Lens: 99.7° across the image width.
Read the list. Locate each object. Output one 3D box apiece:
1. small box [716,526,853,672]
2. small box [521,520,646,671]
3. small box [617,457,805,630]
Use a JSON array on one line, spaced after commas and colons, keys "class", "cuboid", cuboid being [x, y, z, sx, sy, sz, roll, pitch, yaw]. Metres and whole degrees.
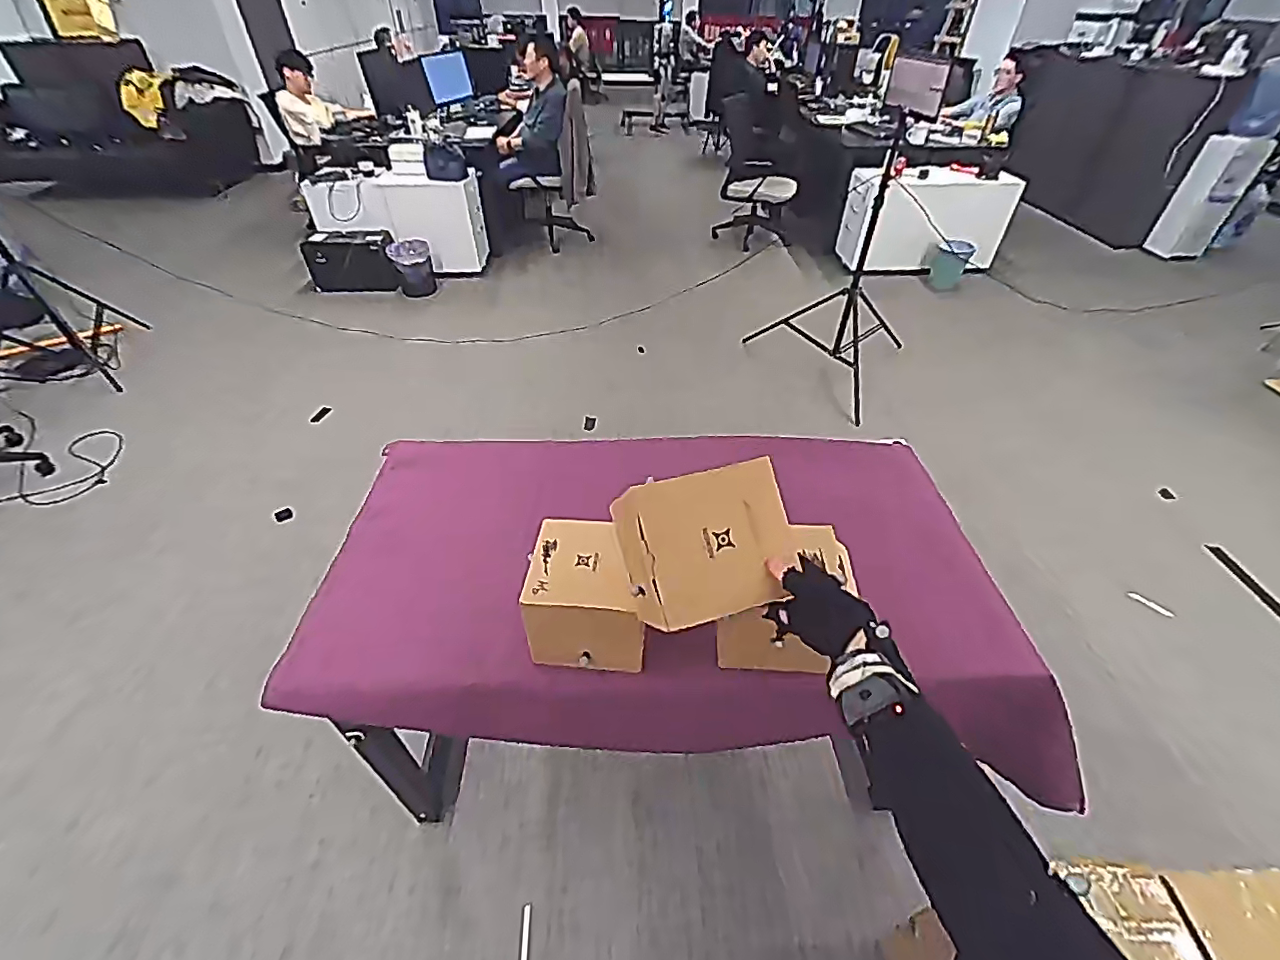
[{"class": "small box", "cuboid": [0.216, 0.189, 0.864, 0.179, 0.176, 0.168, 2, 41, 3]}, {"class": "small box", "cuboid": [-0.076, 0.187, 0.865, 0.179, 0.176, 0.168, 4, 41, 3]}, {"class": "small box", "cuboid": [0.075, 0.081, 0.693, 0.179, 0.176, 0.168, -14, 85, -14]}]
